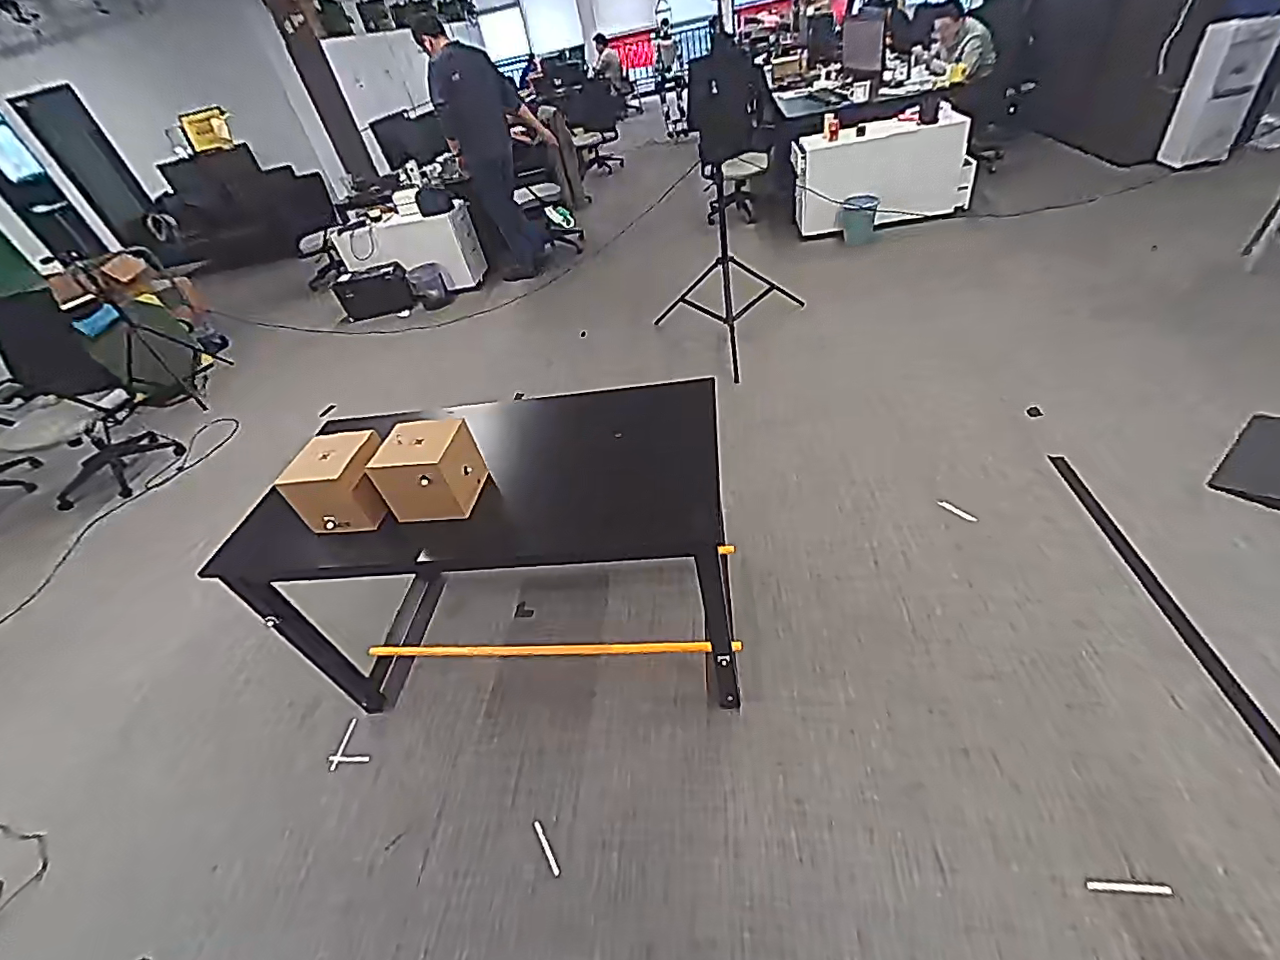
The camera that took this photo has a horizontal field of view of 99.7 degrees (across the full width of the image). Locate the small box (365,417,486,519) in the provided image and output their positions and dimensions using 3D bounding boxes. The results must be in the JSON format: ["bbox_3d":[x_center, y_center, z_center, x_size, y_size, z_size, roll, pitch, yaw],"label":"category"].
[{"bbox_3d":[-0.480,-0.024,1.244,0.179,0.176,0.168,-4,41,11],"label":"small box"}]

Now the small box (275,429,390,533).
[{"bbox_3d":[-0.696,0.003,1.274,0.168,0.176,0.179,-6,42,11],"label":"small box"}]
